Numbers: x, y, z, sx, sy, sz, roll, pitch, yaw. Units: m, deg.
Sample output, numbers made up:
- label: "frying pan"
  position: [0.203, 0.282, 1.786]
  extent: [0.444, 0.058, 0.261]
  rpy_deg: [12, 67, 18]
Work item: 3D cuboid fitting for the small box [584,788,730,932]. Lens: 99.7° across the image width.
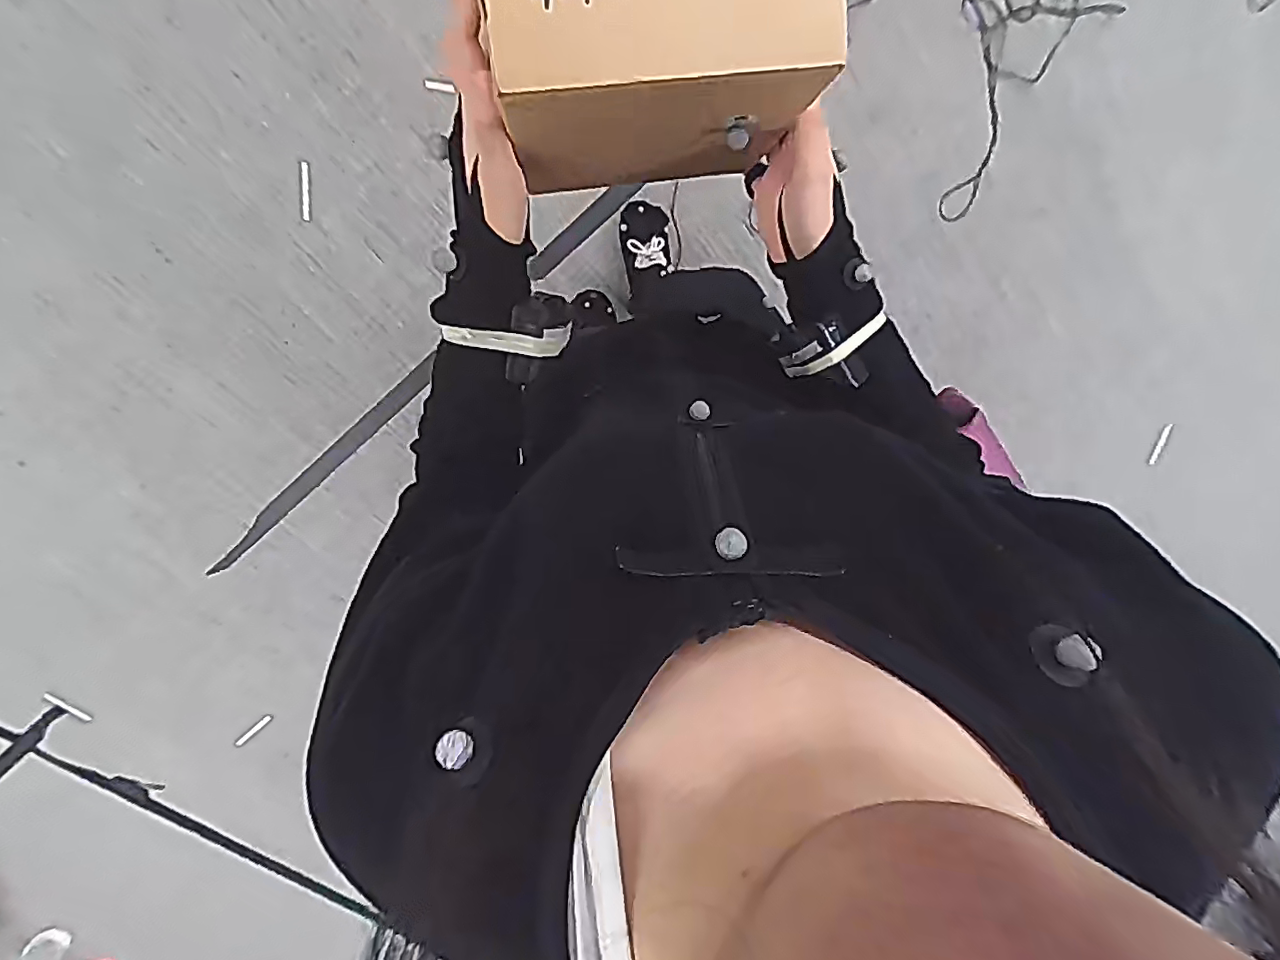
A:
- label: "small box"
  position: [0.022, 0.666, 0.909]
  extent: [0.168, 0.176, 0.179]
  rpy_deg: [-38, 109, 7]
